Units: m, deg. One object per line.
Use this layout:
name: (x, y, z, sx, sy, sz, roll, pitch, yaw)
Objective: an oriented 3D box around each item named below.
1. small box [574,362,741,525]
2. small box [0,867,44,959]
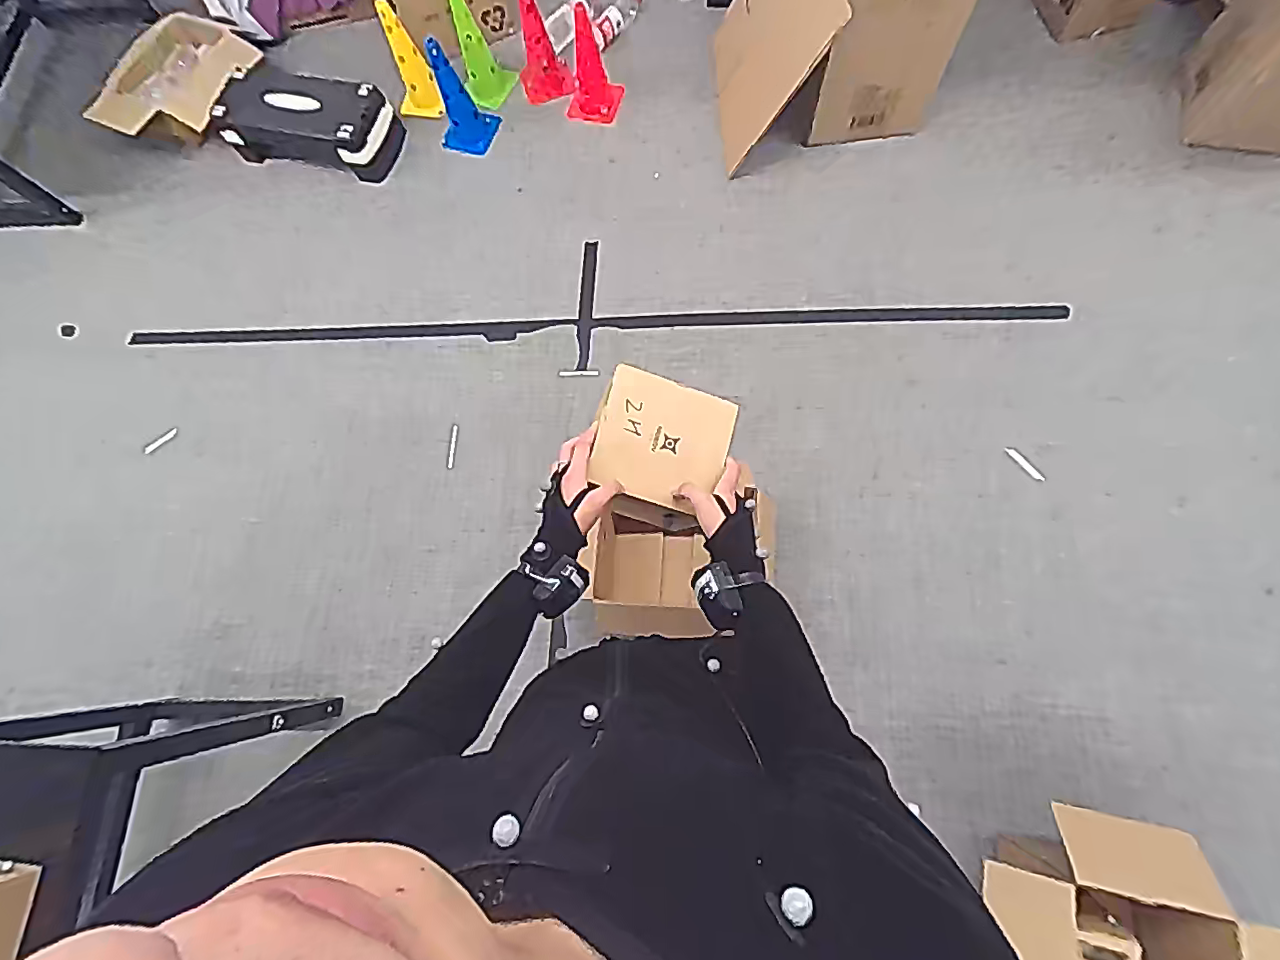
small box: (0.016, -0.039, 0.766, 0.179, 0.176, 0.168, 18, 77, -8)
small box: (-1.059, 0.696, 0.796, 0.168, 0.176, 0.179, 2, 76, 7)
